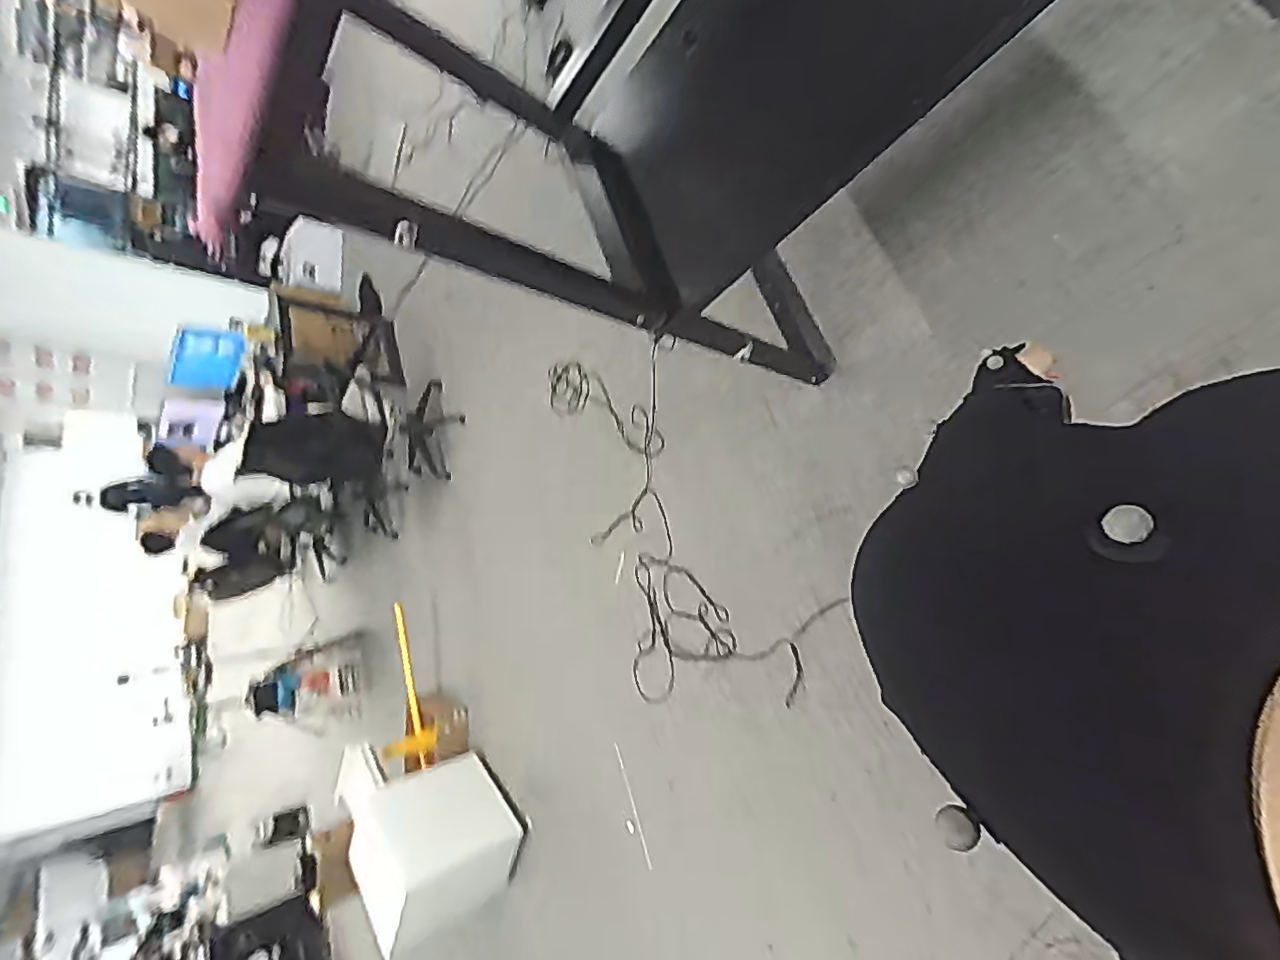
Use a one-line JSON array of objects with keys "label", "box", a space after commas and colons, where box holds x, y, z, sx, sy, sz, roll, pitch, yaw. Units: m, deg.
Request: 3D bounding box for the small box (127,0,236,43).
[{"label": "small box", "box": [-0.449, -0.547, 0.469, 0.179, 0.176, 0.168, -35, 66, 37]}]
